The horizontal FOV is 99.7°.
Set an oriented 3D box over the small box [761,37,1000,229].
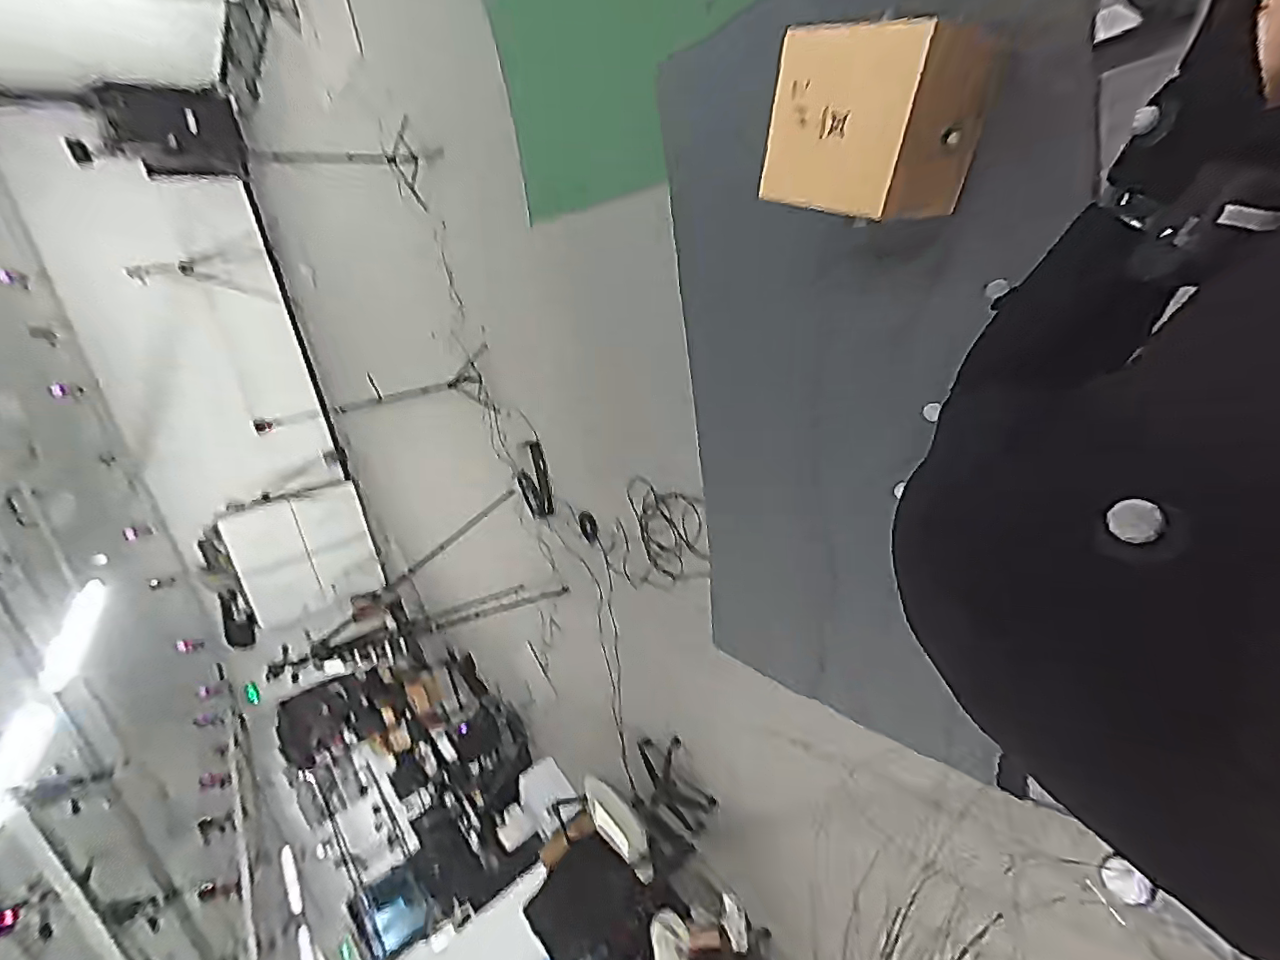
[{"bbox_3d":[0.274,-0.400,0.631,0.179,0.176,0.168,37,135,40],"label":"small box"}]
